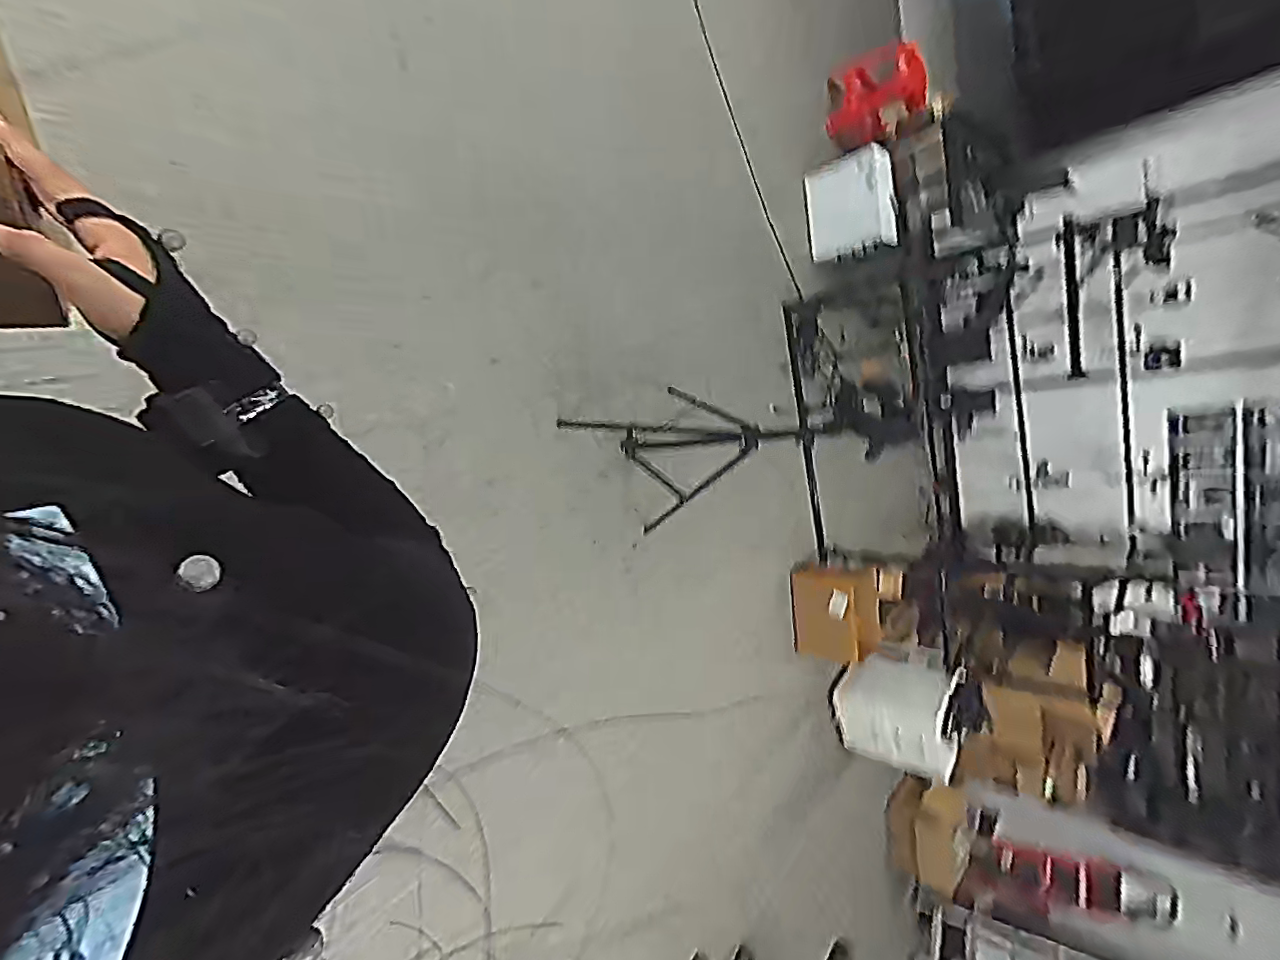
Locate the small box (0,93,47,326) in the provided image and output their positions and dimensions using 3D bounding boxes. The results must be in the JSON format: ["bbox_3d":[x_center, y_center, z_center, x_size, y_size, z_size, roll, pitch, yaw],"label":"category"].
[{"bbox_3d":[-0.510,-0.214,0.333,0.168,0.176,0.179,-15,141,-37],"label":"small box"}]
